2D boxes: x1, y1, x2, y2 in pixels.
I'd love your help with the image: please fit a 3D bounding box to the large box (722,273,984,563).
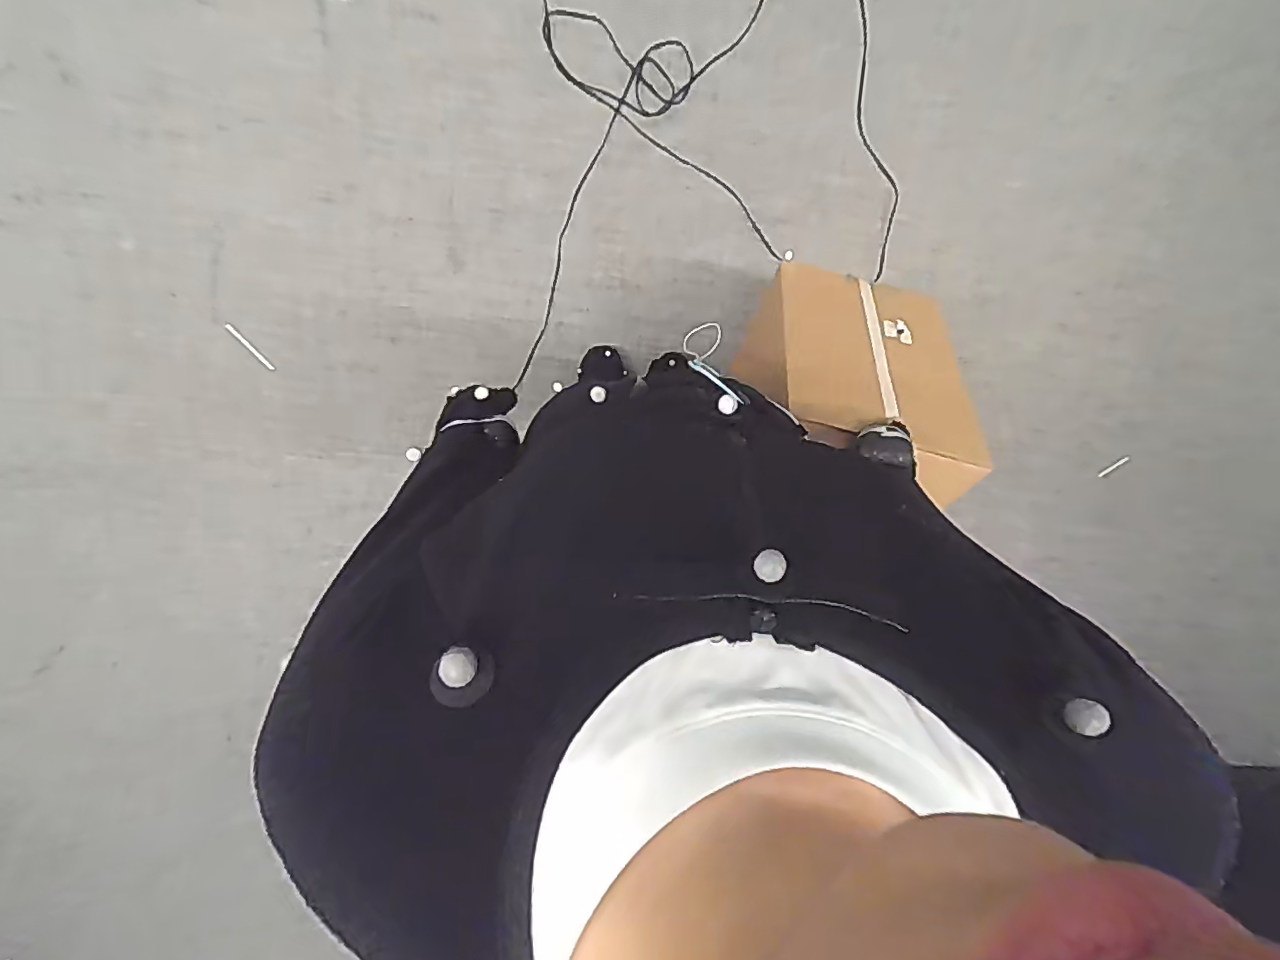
[{"bbox_3d":[0.347,-0.110,1.010,0.320,0.408,0.320,14,142,-6],"label":"large box"}]
